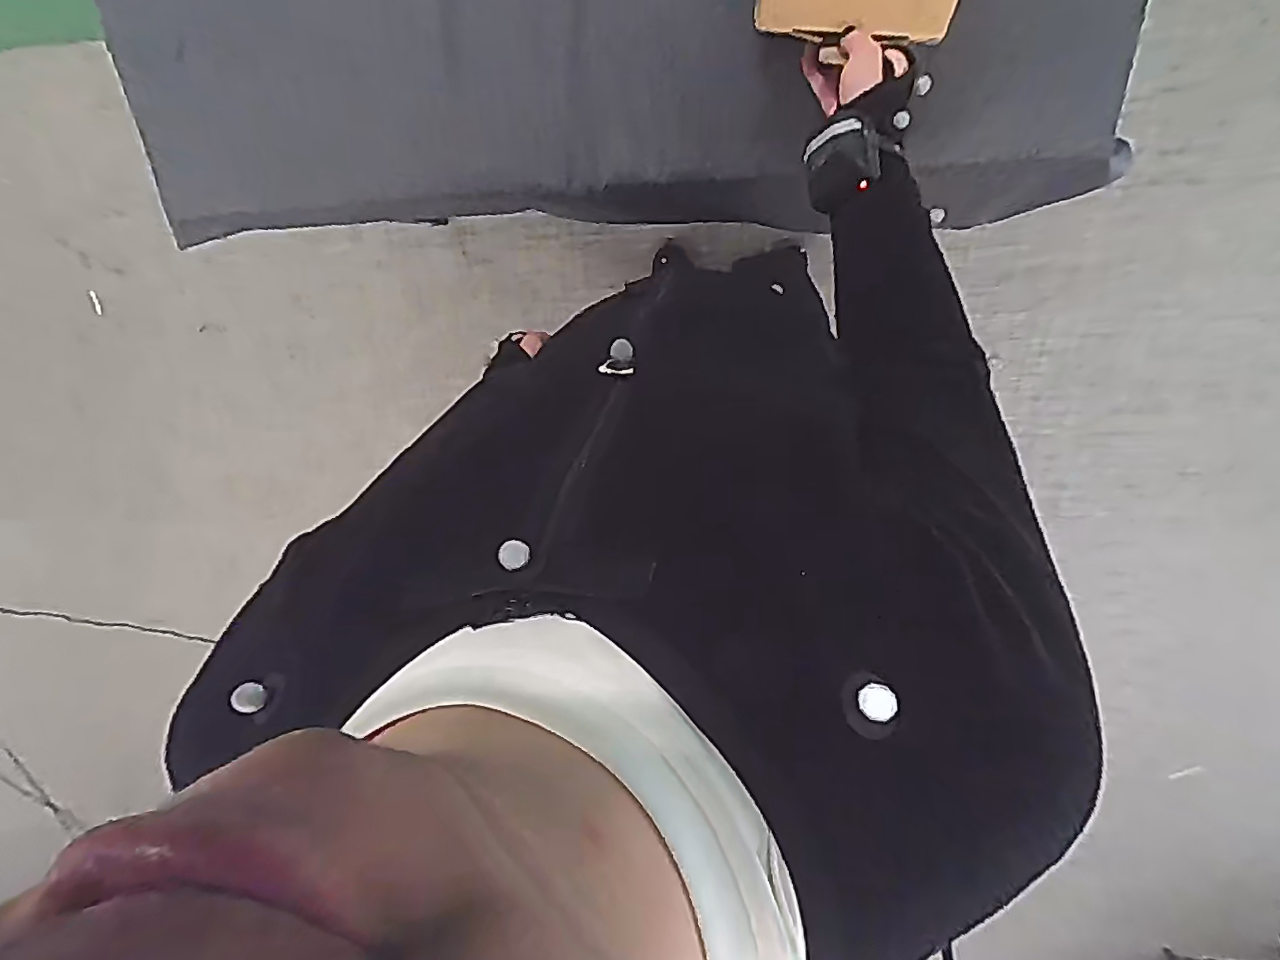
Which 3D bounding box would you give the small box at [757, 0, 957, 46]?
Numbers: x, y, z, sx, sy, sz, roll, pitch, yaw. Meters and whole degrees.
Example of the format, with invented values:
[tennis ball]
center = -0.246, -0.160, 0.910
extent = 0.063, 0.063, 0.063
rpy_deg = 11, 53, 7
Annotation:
[small box]
center = 0.202, -0.510, 0.480
extent = 0.168, 0.176, 0.179
rpy_deg = 7, 133, 3
